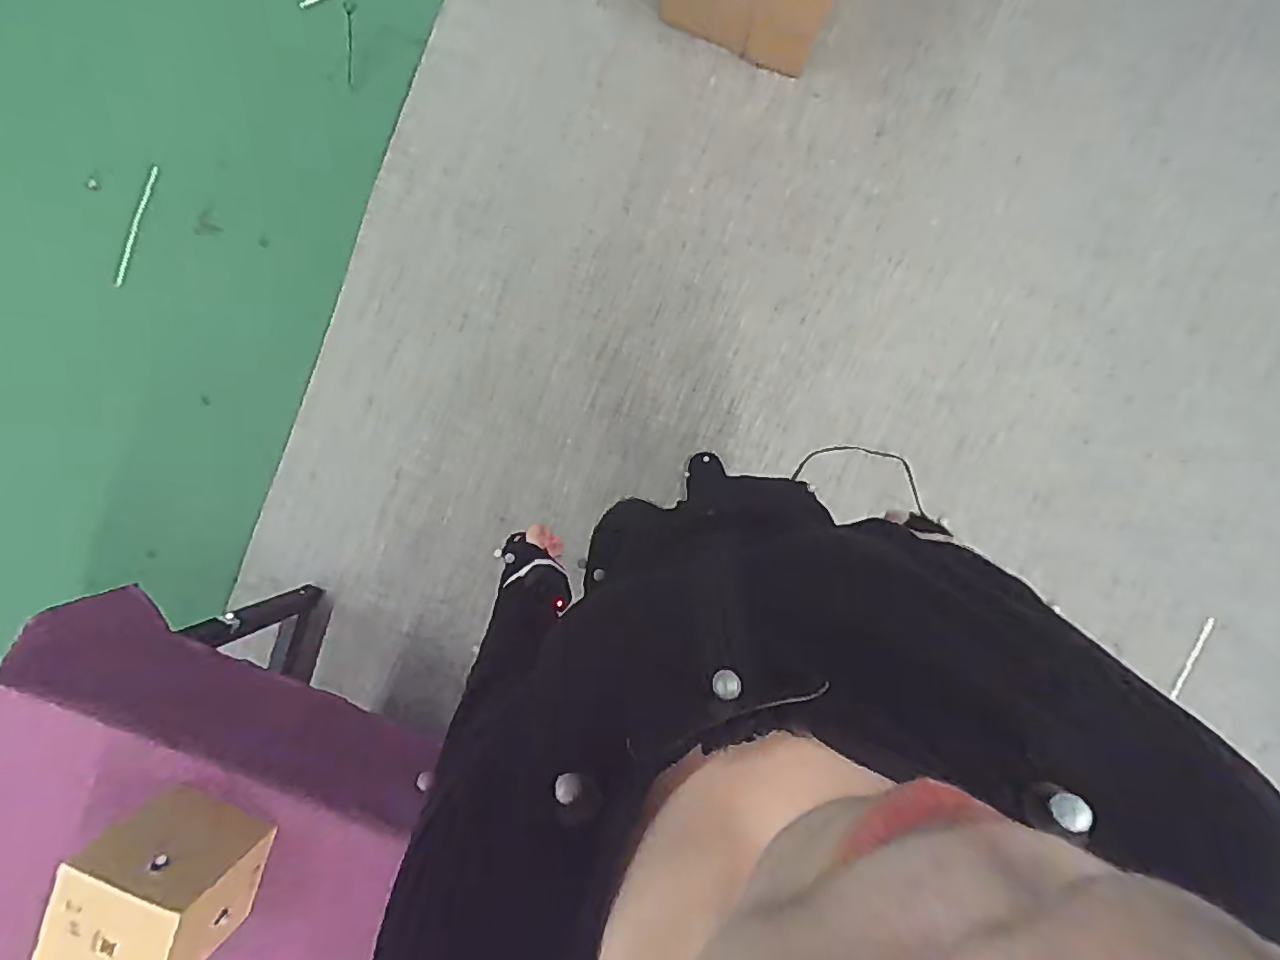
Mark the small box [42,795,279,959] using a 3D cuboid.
[{"bbox_3d":[-0.663,0.591,0.766,0.179,0.176,0.168,21,94,3],"label":"small box"}]
